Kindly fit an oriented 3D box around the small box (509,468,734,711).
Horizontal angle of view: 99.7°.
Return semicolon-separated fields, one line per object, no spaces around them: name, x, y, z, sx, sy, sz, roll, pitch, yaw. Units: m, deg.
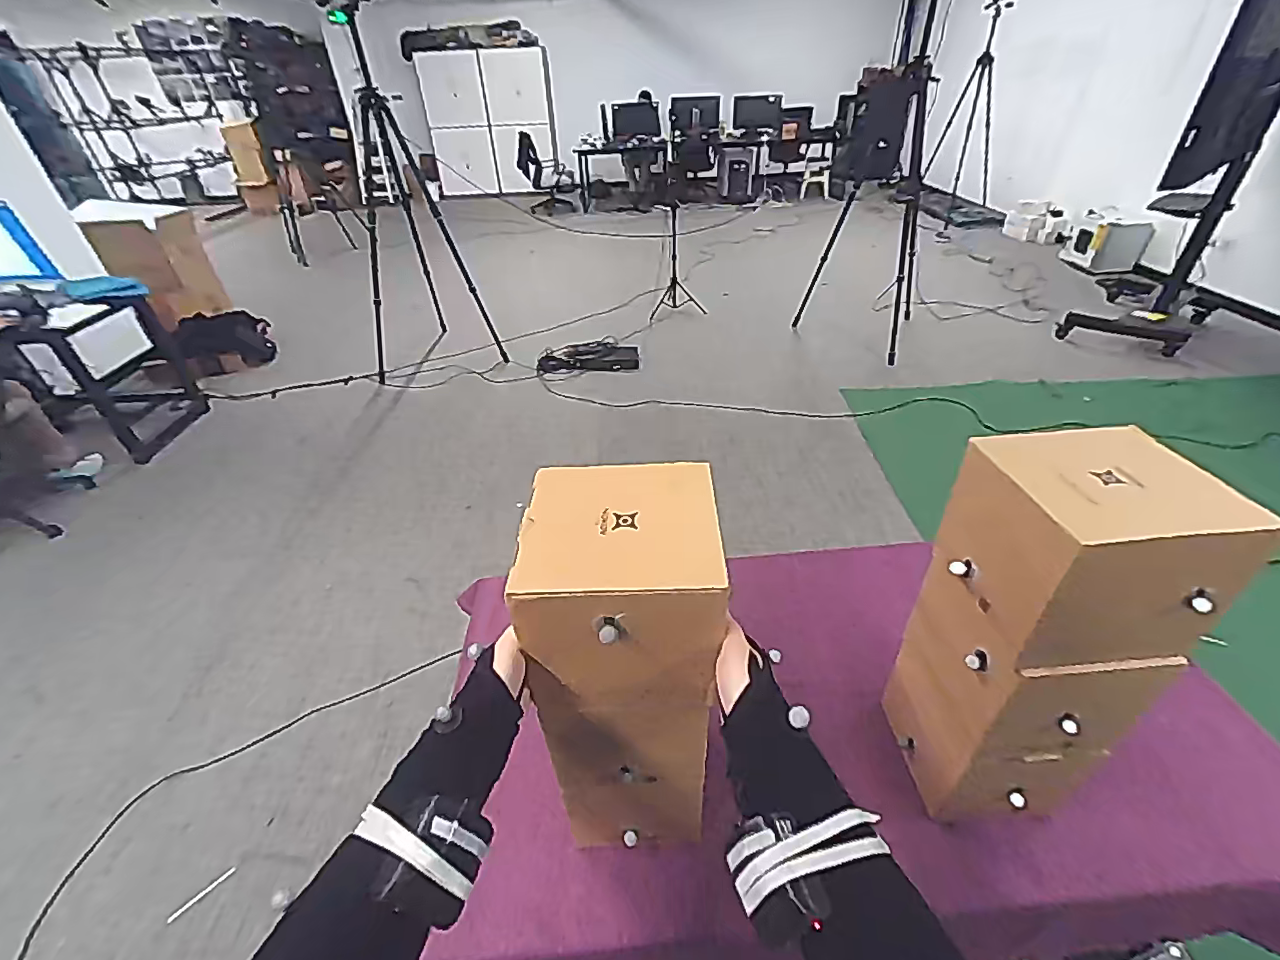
small box;-0.011;0.105;0.524;0.179;0.176;0.168;-2;38;2

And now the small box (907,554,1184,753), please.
small box;0.447;0.201;0.637;0.168;0.176;0.179;-3;37;-1

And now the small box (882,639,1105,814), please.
small box;0.458;0.332;0.736;0.168;0.176;0.179;-3;38;-1

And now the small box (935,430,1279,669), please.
small box;0.436;0.068;0.542;0.179;0.176;0.168;-4;36;-1

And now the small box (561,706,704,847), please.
small box;-0.008;0.362;0.727;0.168;0.176;0.179;-3;38;0
